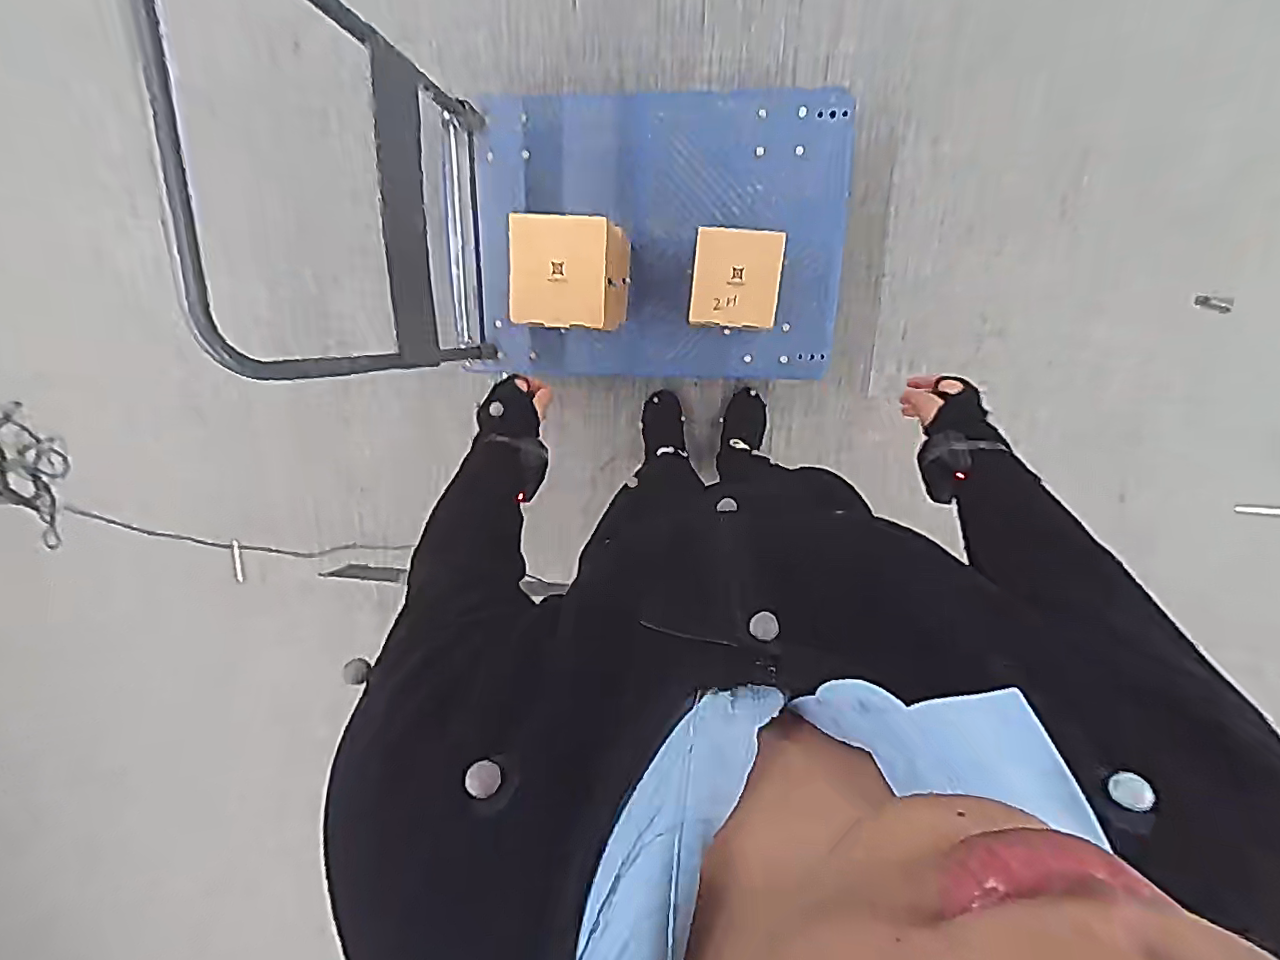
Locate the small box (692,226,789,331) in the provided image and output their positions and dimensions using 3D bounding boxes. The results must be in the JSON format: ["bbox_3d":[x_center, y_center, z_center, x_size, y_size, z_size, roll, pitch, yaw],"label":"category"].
[{"bbox_3d":[0.195,-0.403,1.105,0.168,0.176,0.179,6,105,5],"label":"small box"}]

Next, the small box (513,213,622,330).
[{"bbox_3d":[-0.126,-0.368,0.977,0.168,0.176,0.179,4,106,4],"label":"small box"}]
